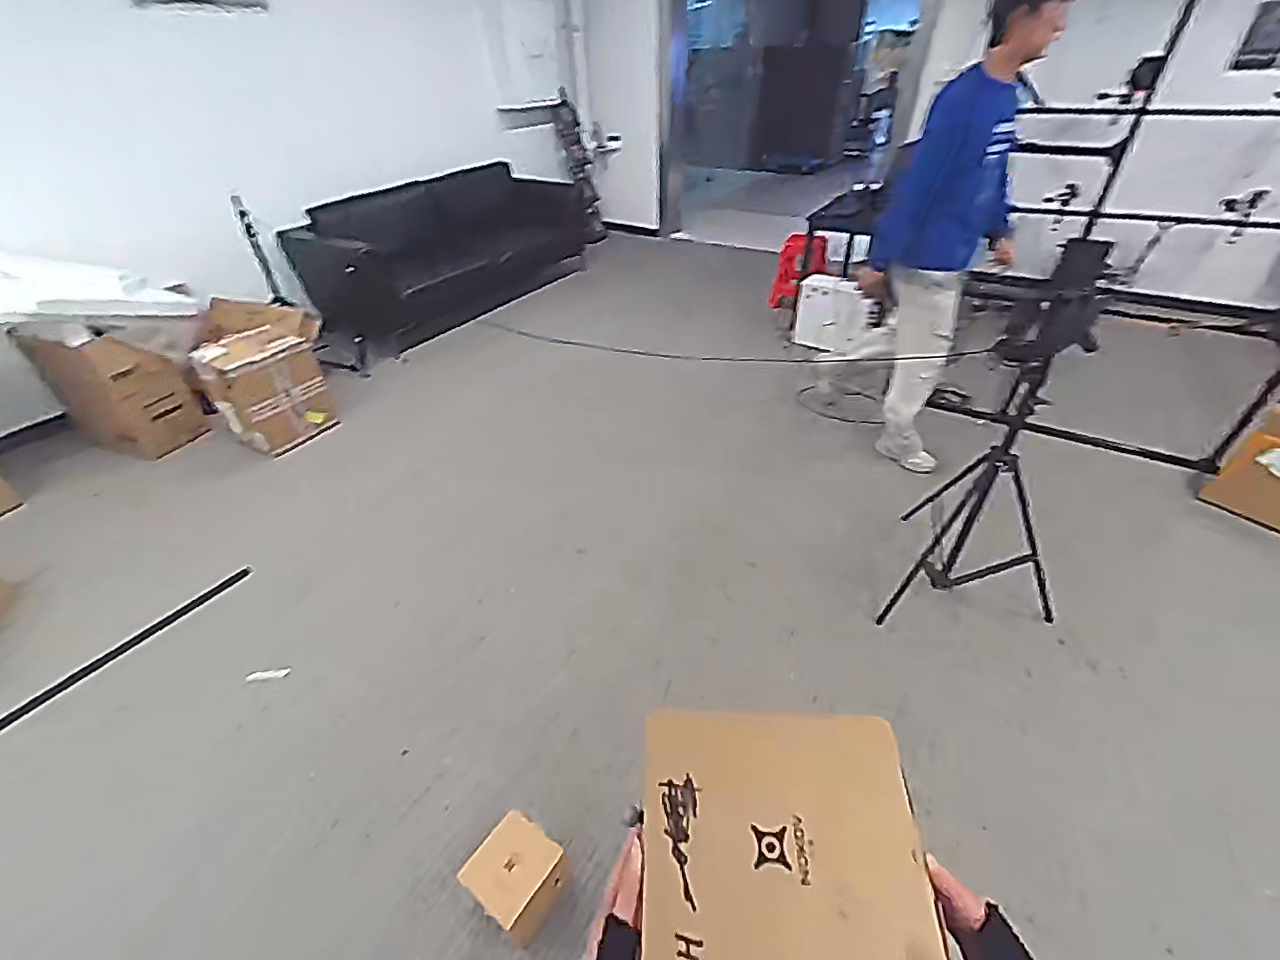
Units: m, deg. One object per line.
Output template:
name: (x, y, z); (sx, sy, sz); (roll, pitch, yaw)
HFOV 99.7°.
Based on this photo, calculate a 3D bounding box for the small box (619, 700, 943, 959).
small box: (0.079, 0.274, 0.389); (0.179, 0.176, 0.168); (3, 49, -1)

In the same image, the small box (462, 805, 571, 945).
small box: (-0.273, 0.901, 1.237); (0.168, 0.176, 0.179); (22, 45, 29)
